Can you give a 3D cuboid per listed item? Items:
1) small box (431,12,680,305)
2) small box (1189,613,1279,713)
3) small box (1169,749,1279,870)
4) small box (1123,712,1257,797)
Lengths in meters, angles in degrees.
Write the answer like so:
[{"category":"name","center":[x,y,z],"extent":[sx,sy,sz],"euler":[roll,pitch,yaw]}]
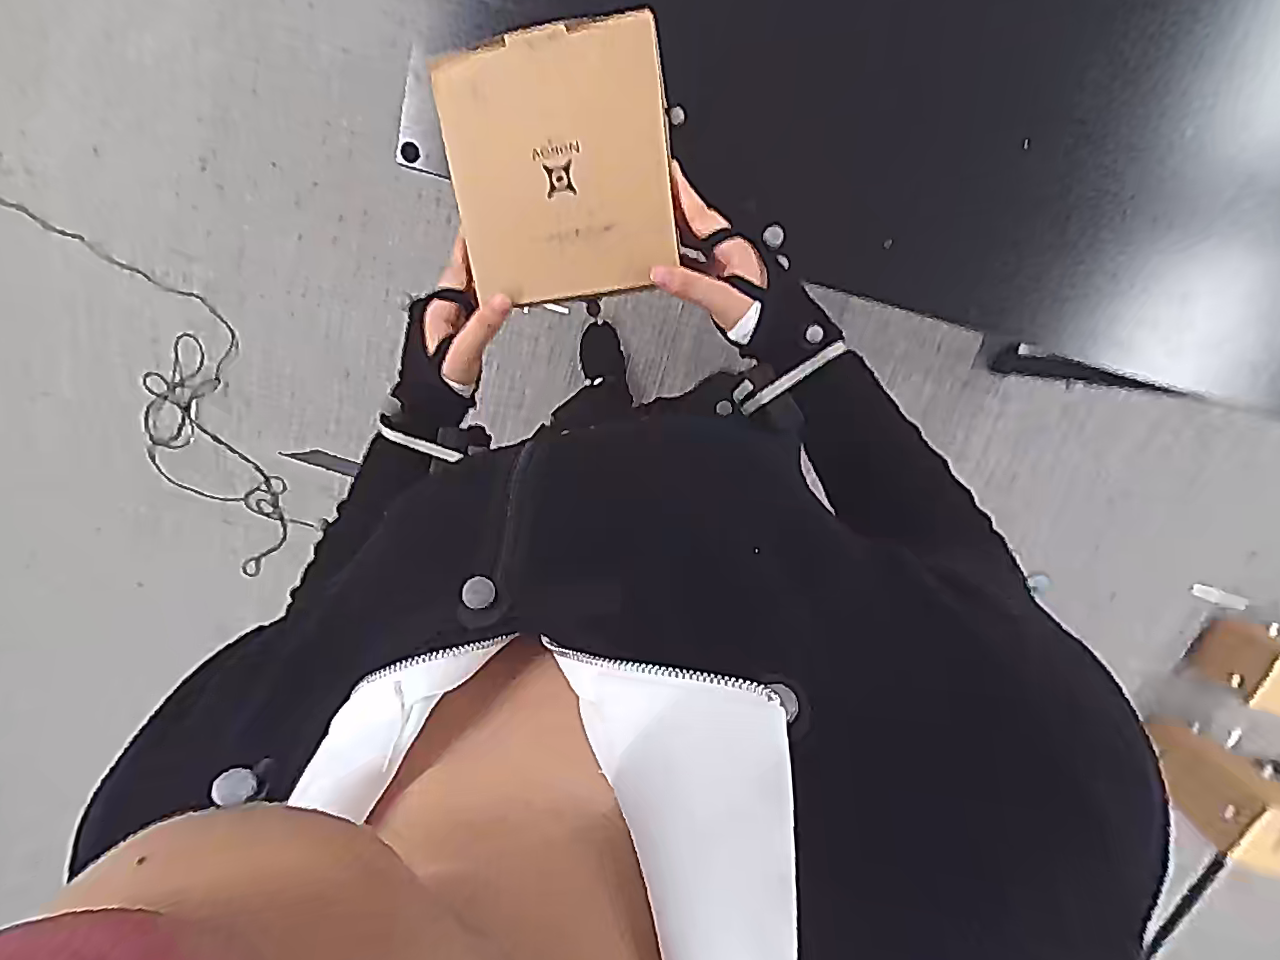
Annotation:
[{"category":"small box","center":[-0.053,-0.253,0.475],"extent":[0.168,0.176,0.179],"euler":[-5,108,7]},{"category":"small box","center":[1.609,0.477,1.407],"extent":[0.168,0.176,0.179],"euler":[15,105,0]},{"category":"small box","center":[1.488,0.808,1.338],"extent":[0.168,0.176,0.179],"euler":[16,107,1]},{"category":"small box","center":[1.514,0.778,1.500],"extent":[0.179,0.176,0.168],"euler":[19,106,1]}]
